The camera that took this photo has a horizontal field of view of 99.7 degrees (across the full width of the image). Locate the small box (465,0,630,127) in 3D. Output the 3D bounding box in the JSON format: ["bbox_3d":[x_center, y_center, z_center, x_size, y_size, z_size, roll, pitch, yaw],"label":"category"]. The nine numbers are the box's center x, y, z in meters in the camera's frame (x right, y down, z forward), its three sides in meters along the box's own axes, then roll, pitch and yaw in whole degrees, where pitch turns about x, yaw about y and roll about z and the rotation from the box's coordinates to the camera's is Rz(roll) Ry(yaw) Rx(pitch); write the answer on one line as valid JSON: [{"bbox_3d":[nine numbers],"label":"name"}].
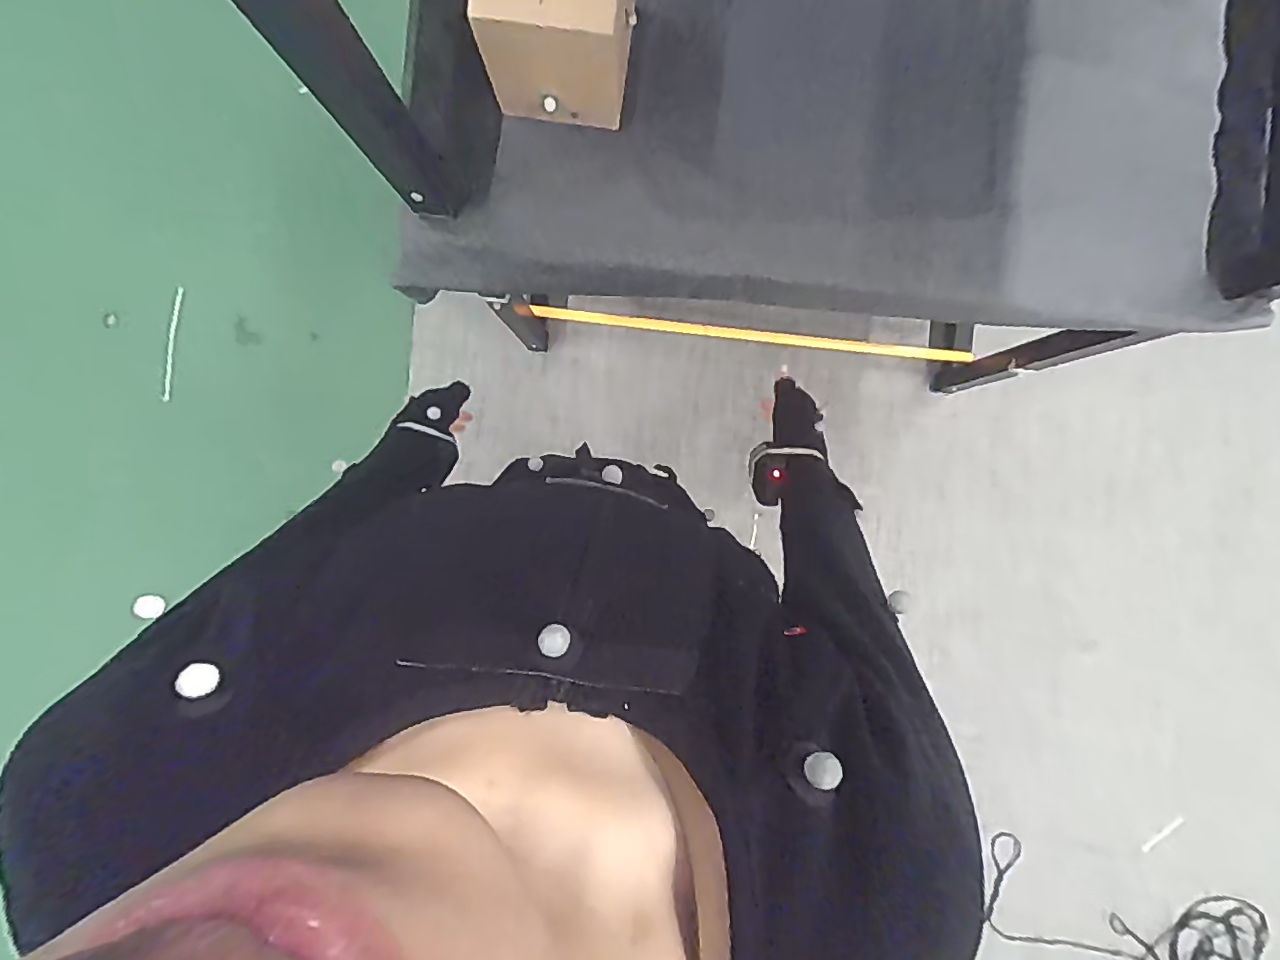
[{"bbox_3d":[-0.102,-0.588,0.673,0.168,0.176,0.179,7,91,-1],"label":"small box"}]
